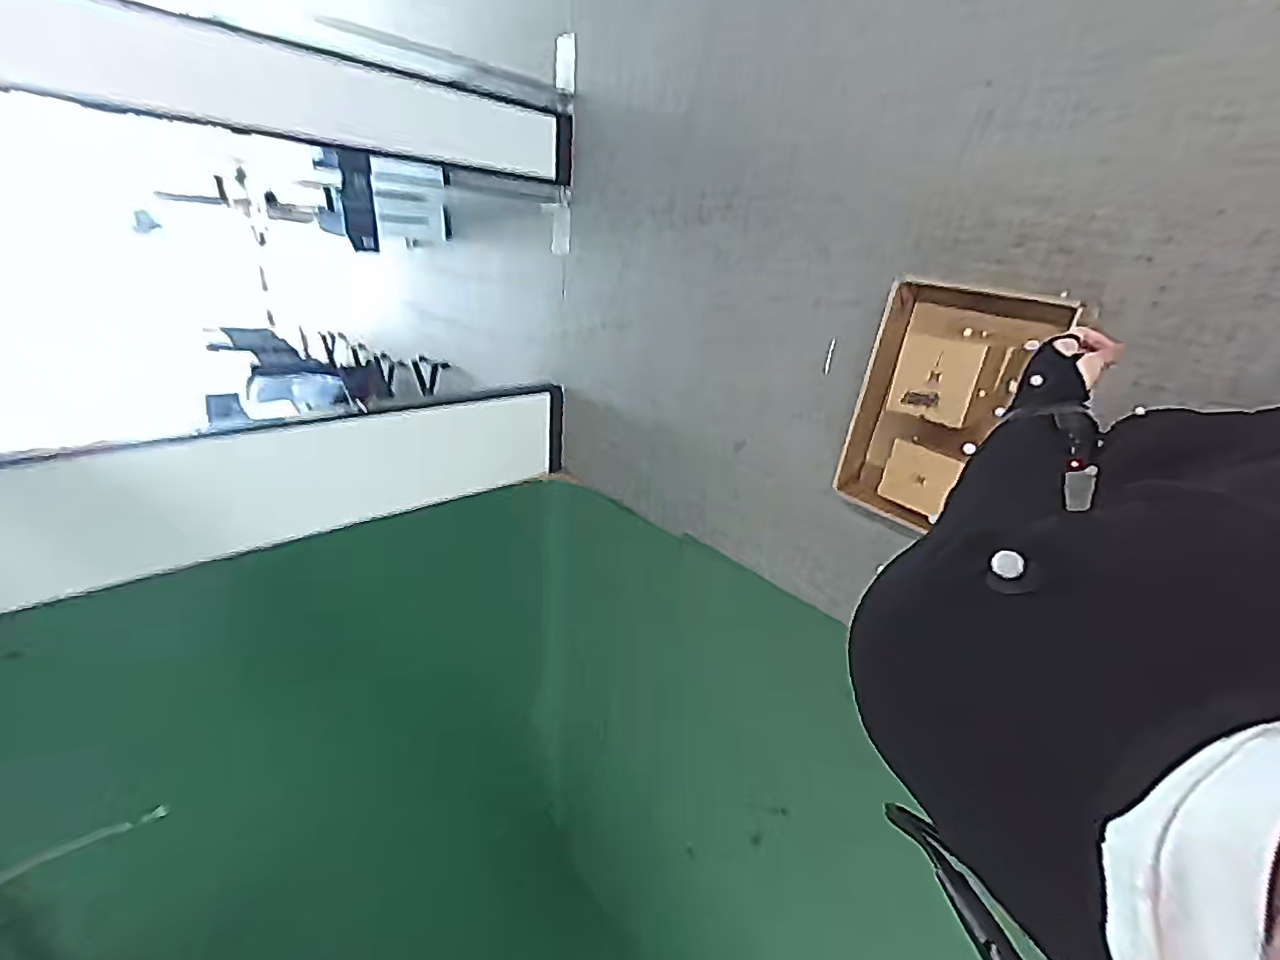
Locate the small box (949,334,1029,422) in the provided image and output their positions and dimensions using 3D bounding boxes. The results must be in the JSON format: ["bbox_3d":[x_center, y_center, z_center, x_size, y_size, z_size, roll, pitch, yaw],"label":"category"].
[{"bbox_3d":[0.811,-0.259,1.324,0.179,0.176,0.168,32,125,38],"label":"small box"}]

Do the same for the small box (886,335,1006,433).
[{"bbox_3d":[0.690,-0.223,1.217,0.168,0.176,0.179,27,121,40],"label":"small box"}]
